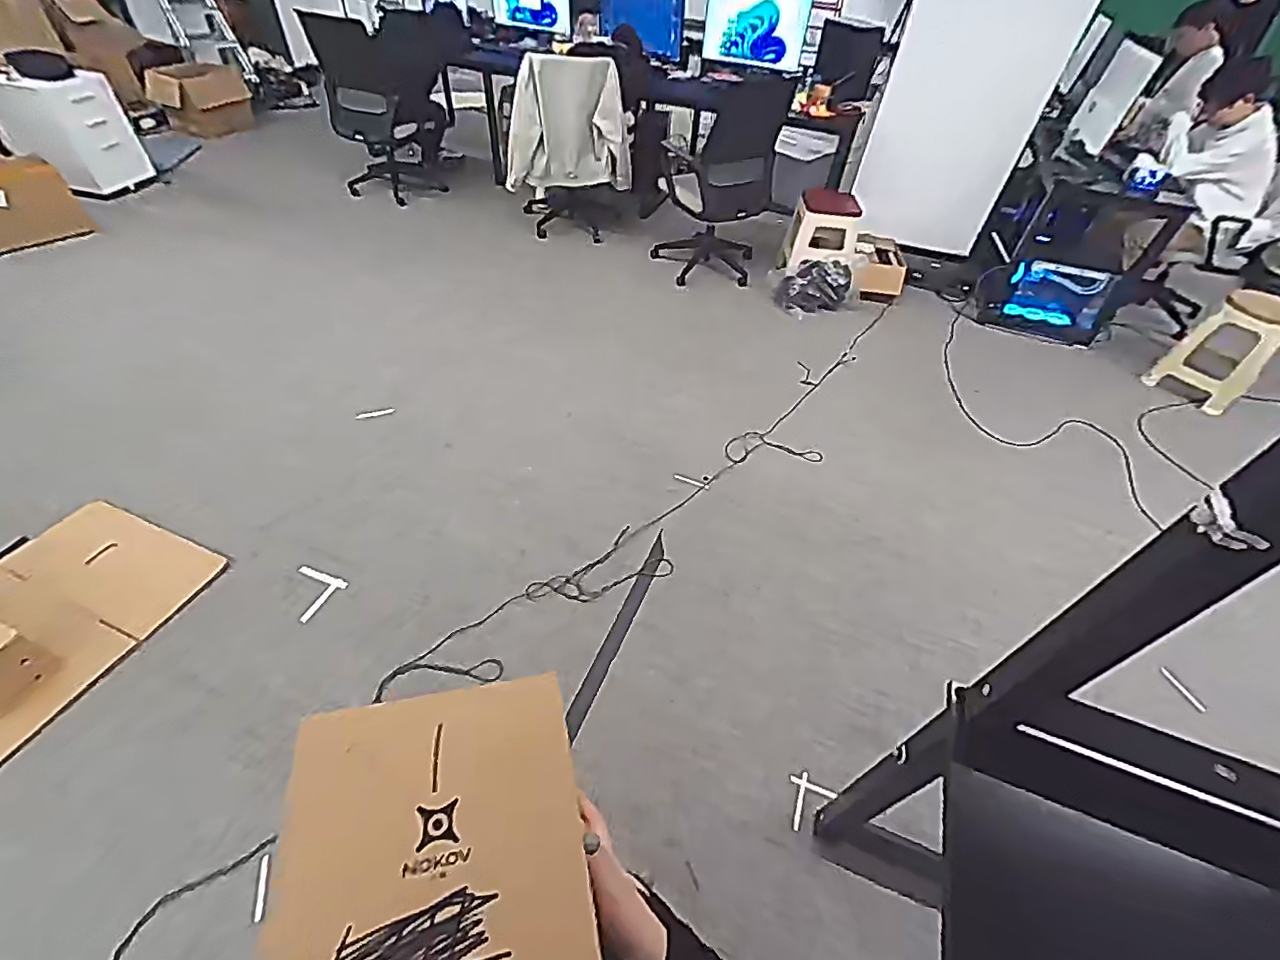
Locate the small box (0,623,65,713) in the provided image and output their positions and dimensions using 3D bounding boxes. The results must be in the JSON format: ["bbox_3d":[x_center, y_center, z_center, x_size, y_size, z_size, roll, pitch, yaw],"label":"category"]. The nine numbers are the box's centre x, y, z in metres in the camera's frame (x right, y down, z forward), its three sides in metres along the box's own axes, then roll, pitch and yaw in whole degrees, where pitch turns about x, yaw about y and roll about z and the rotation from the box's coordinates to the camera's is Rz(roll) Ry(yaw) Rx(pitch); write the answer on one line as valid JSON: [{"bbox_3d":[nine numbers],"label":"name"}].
[{"bbox_3d":[-1.635,0.465,1.358,0.179,0.176,0.168,16,47,12],"label":"small box"}]
